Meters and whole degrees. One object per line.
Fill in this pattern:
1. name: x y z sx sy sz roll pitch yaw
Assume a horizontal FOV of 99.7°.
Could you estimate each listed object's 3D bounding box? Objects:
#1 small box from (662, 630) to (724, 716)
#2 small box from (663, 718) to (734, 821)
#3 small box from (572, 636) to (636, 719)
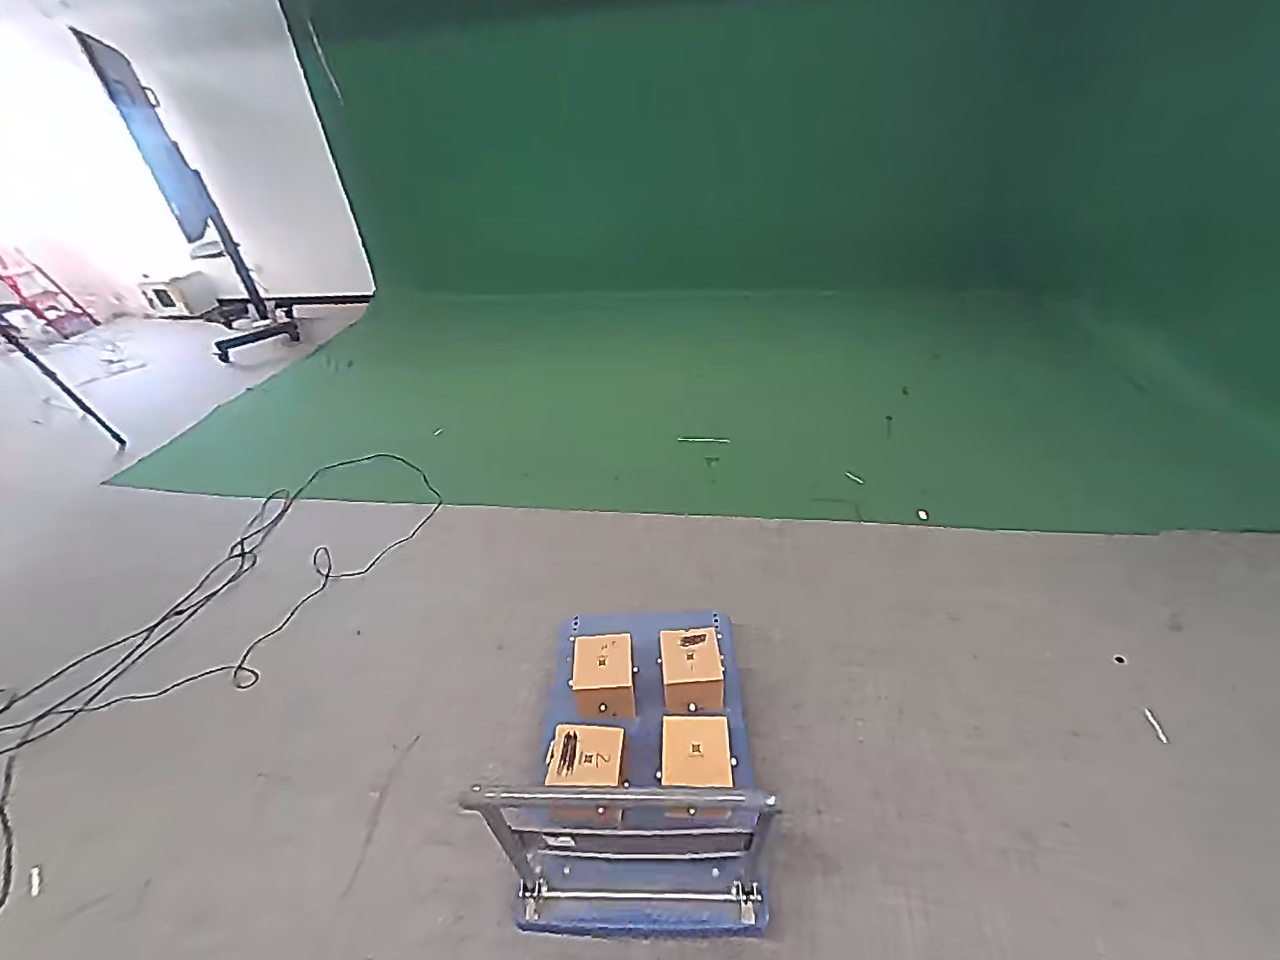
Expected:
1. small box: 0.151 0.563 1.580 0.168 0.176 0.179 -4 38 1
2. small box: 0.143 0.729 1.366 0.168 0.176 0.179 -1 38 4
3. small box: -0.100 0.582 1.581 0.168 0.176 0.179 -3 37 0
